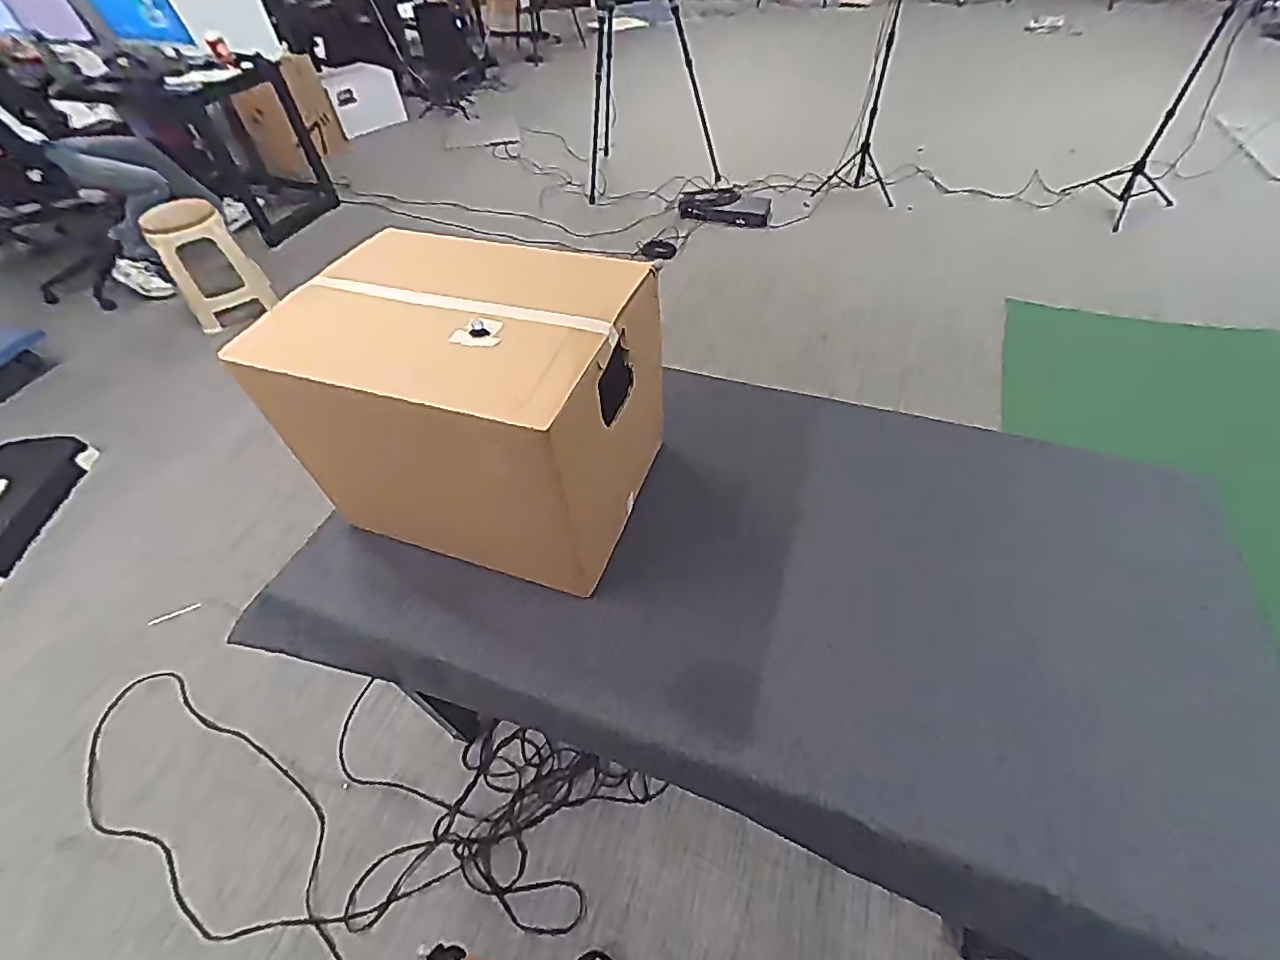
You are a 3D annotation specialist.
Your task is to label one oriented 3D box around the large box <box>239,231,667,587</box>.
[{"bbox_3d":[-0.198,-0.102,0.742,0.408,0.320,0.320,14,52,14],"label":"large box"}]
